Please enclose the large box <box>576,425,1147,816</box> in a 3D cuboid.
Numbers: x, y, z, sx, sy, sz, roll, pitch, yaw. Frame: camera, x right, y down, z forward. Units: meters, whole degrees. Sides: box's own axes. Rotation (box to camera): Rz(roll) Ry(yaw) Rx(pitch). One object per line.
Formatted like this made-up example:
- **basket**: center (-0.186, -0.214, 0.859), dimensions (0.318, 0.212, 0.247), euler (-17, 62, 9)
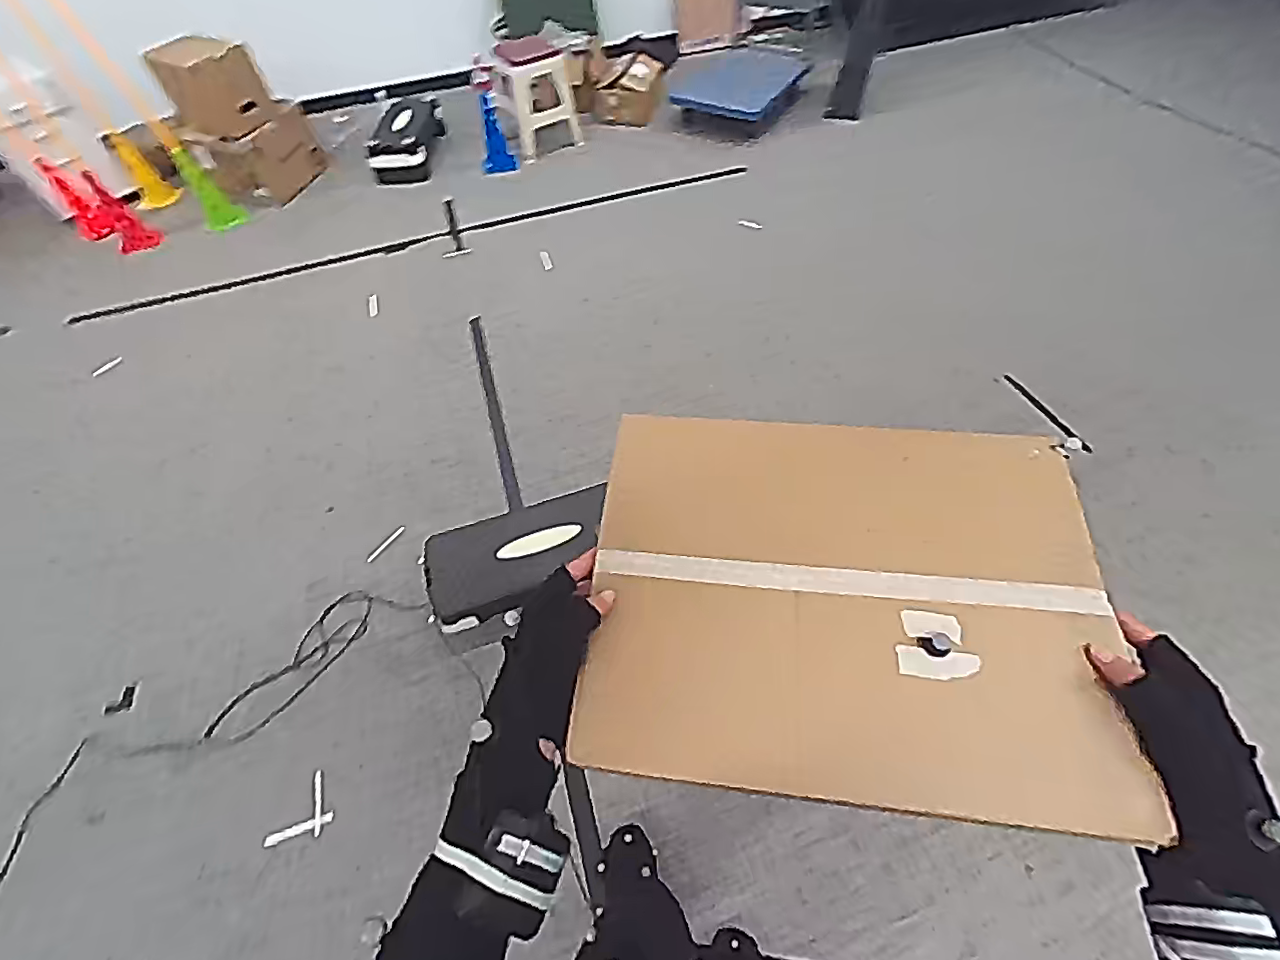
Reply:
- **large box**: center (0.167, 0.158, 0.583), dimensions (0.408, 0.320, 0.320), euler (3, 62, 6)
